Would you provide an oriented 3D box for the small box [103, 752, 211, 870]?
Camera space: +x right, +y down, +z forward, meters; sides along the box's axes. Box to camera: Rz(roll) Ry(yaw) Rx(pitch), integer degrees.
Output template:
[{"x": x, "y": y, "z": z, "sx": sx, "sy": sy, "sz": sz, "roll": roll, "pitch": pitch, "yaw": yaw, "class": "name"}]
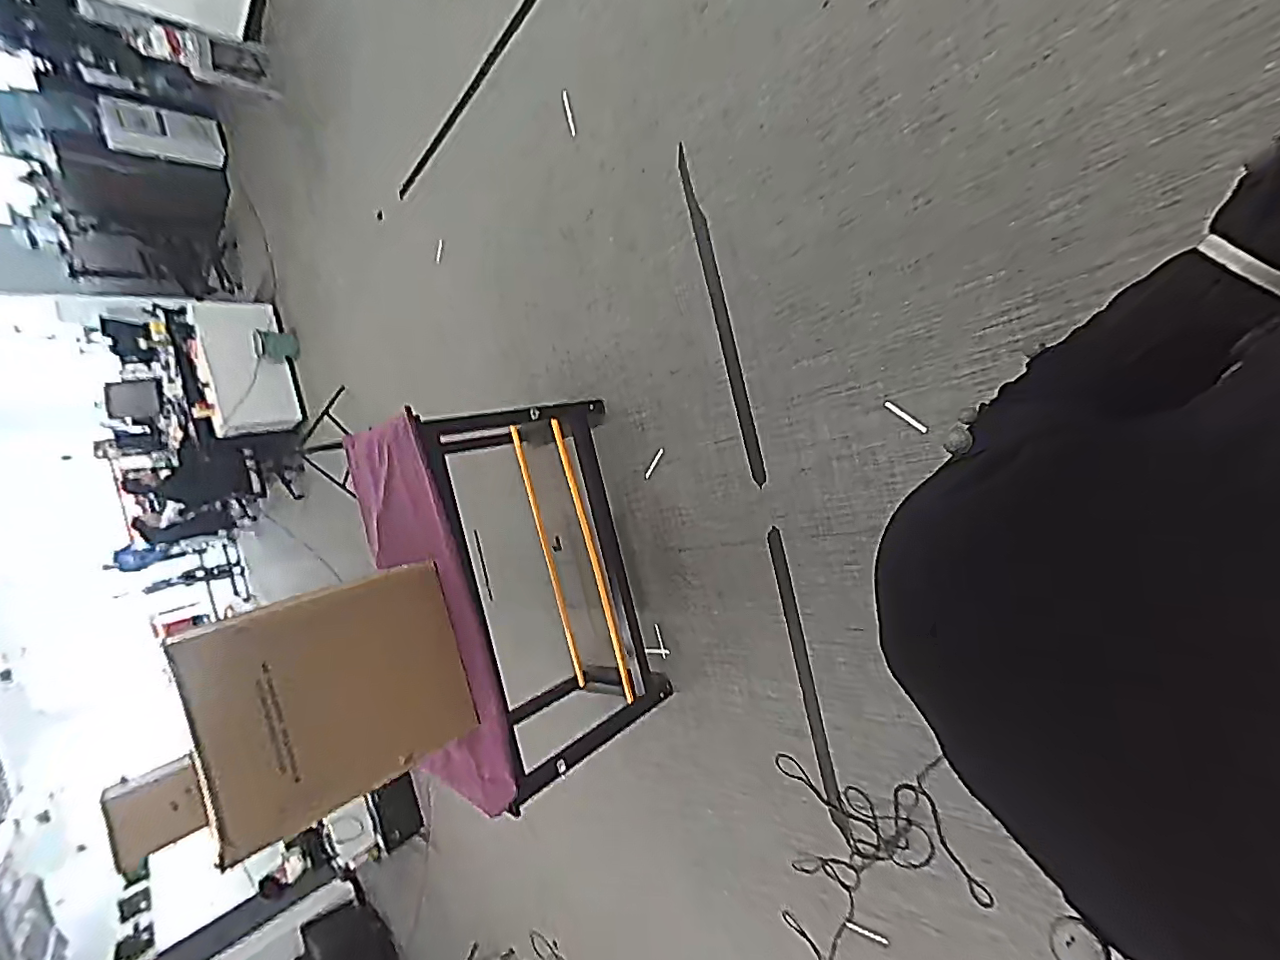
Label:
[{"x": -1.178, "y": 0.796, "z": 1.326, "sx": 0.179, "sy": 0.176, "sz": 0.168, "roll": -16, "pitch": 89, "yaw": 46, "class": "small box"}]
